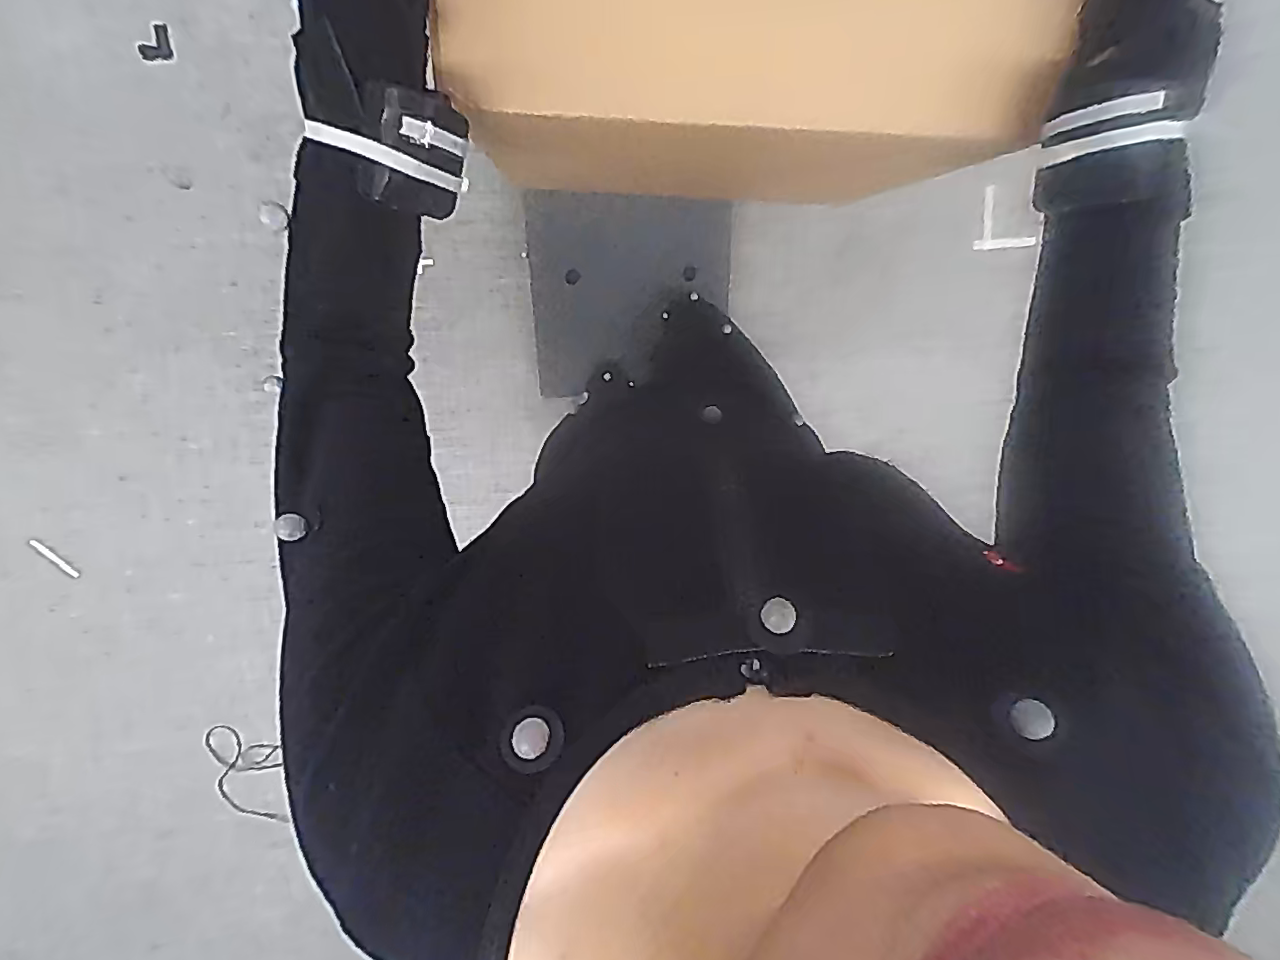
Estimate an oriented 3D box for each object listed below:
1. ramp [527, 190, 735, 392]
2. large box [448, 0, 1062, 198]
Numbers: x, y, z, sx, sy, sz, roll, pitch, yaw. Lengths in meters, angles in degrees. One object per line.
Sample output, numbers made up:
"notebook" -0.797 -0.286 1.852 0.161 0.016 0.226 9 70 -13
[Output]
"ramp" -0.018 -0.706 1.253 0.509 0.206 0.991 -5 102 -4
"large box" 0.067 -0.435 0.453 0.408 0.320 0.320 0 110 -5
